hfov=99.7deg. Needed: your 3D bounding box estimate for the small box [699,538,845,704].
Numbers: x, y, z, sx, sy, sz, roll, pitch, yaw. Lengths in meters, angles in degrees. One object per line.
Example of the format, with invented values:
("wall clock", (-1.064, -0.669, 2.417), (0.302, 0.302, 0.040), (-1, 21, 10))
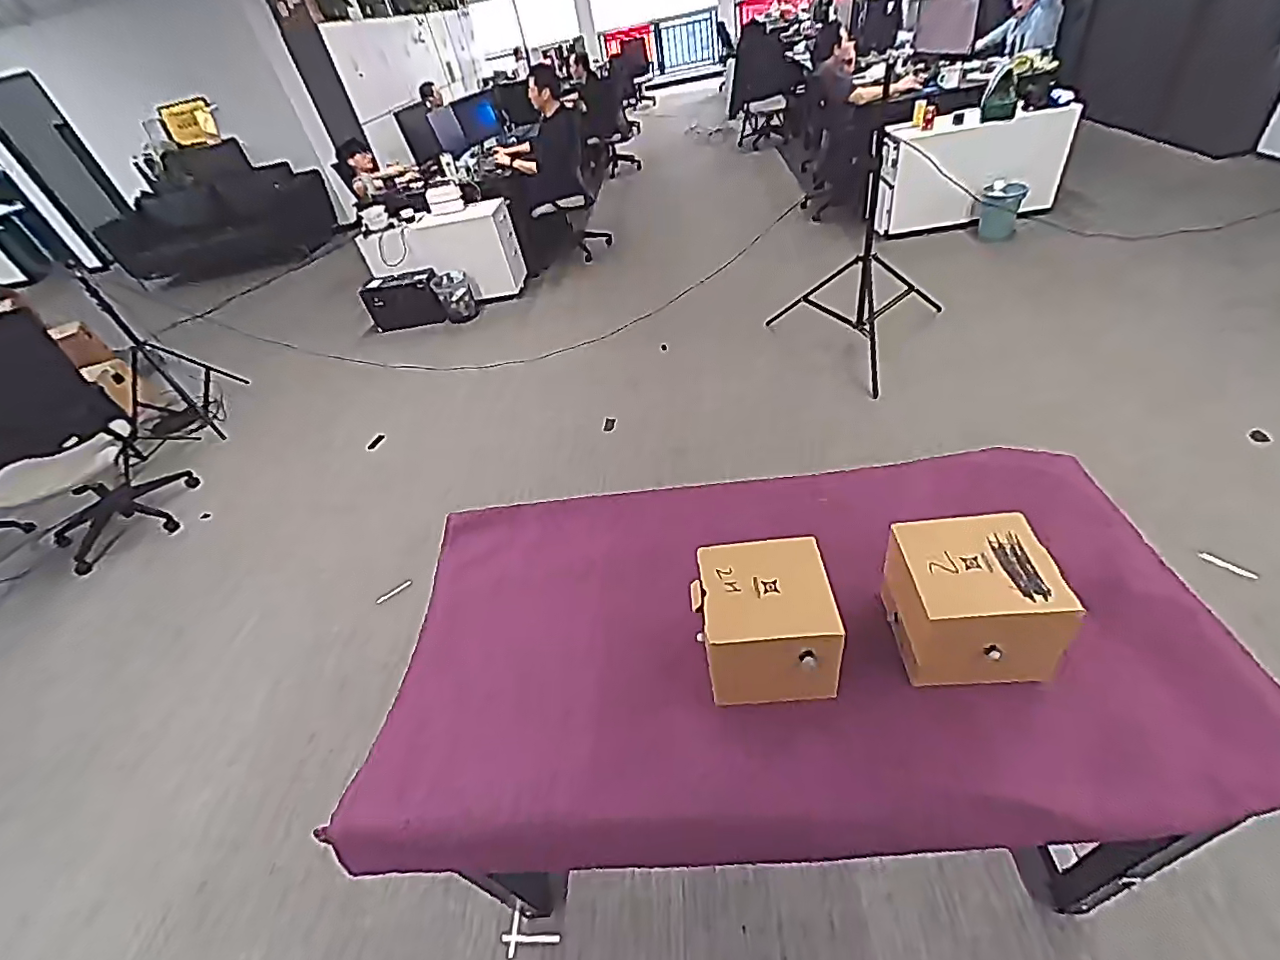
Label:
("small box", (0.185, 0.208, 0.792), (0.179, 0.176, 0.168), (-8, 40, 7))
